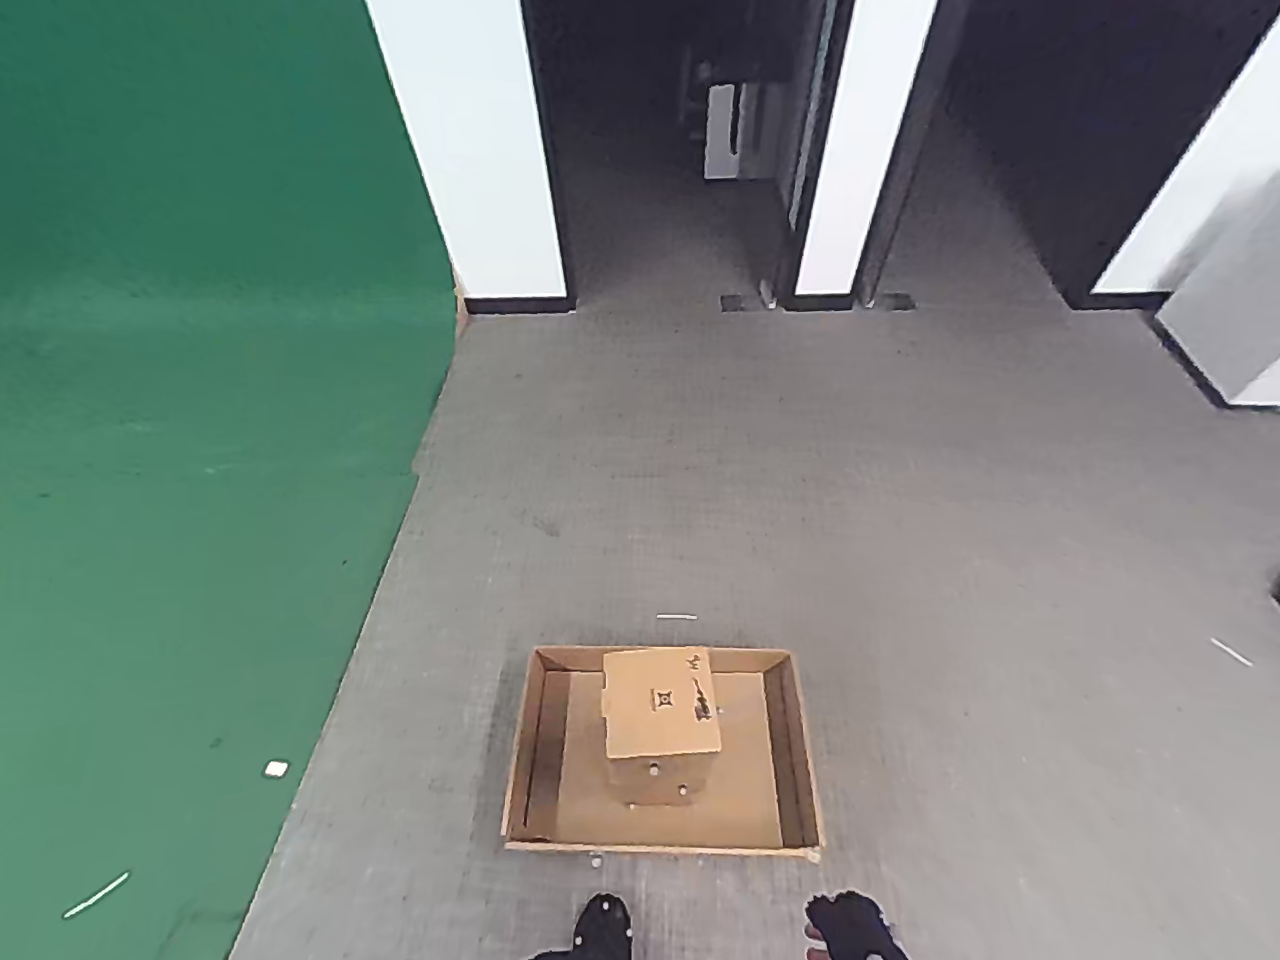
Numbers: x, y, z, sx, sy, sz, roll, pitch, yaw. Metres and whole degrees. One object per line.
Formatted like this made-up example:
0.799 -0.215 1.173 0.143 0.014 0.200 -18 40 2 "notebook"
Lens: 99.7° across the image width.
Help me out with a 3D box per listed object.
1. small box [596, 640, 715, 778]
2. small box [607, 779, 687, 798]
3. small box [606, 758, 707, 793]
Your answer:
0.022 0.394 0.923 0.179 0.176 0.168 -5 49 -4 "small box"
0.021 0.585 1.184 0.168 0.176 0.179 0 51 1 "small box"
0.023 0.487 1.035 0.179 0.176 0.168 -4 51 -3 "small box"
